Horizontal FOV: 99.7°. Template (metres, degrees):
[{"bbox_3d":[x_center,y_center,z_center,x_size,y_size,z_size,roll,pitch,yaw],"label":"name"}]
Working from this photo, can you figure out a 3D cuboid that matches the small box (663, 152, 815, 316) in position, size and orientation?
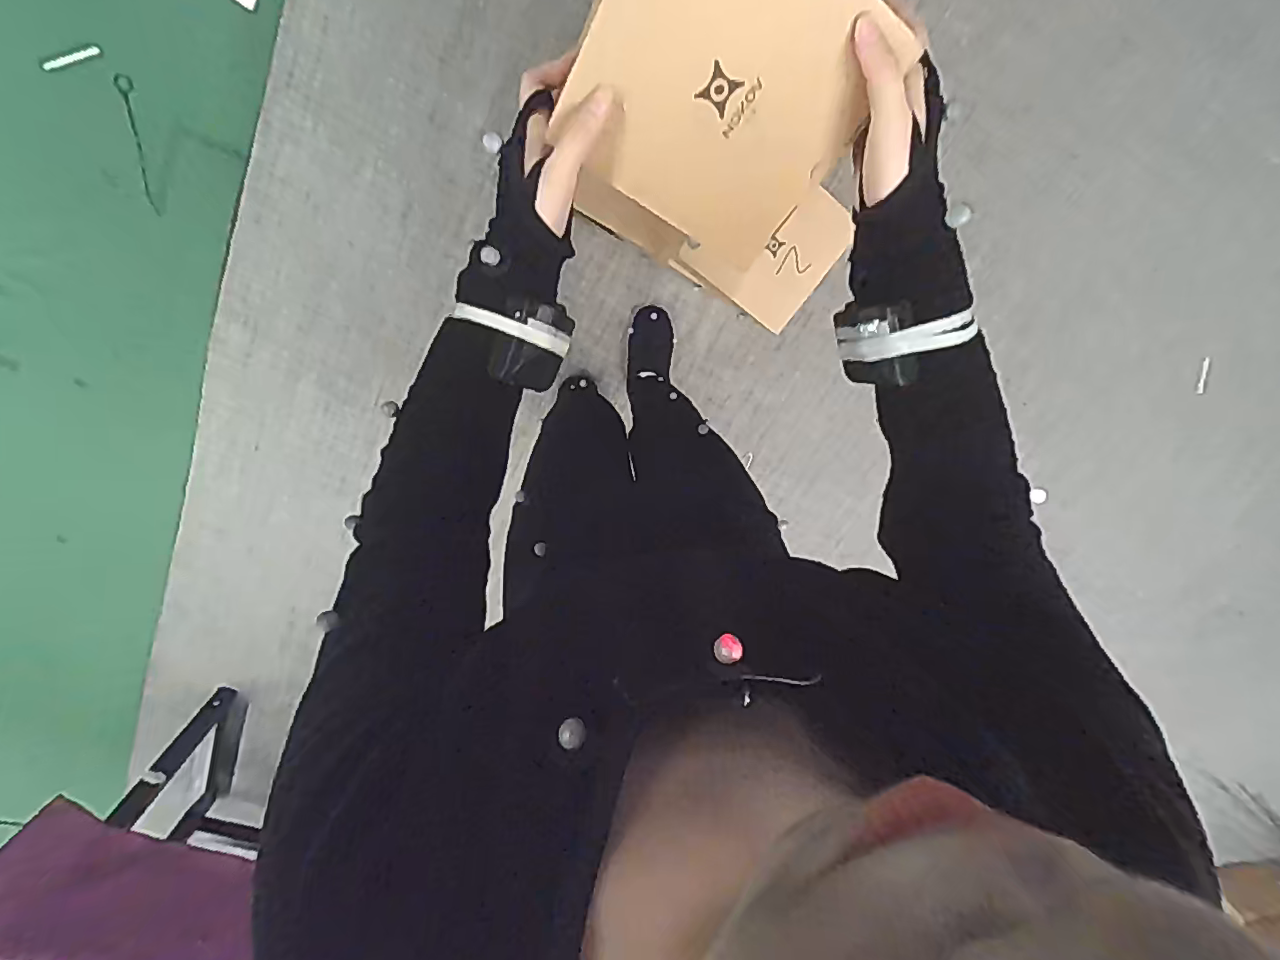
[{"bbox_3d":[0.150,-0.400,0.897,0.168,0.176,0.179,28,109,-14],"label":"small box"}]

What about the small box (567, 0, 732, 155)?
[{"bbox_3d":[0.009,-0.611,0.802,0.179,0.176,0.168,24,109,-11],"label":"small box"}]
